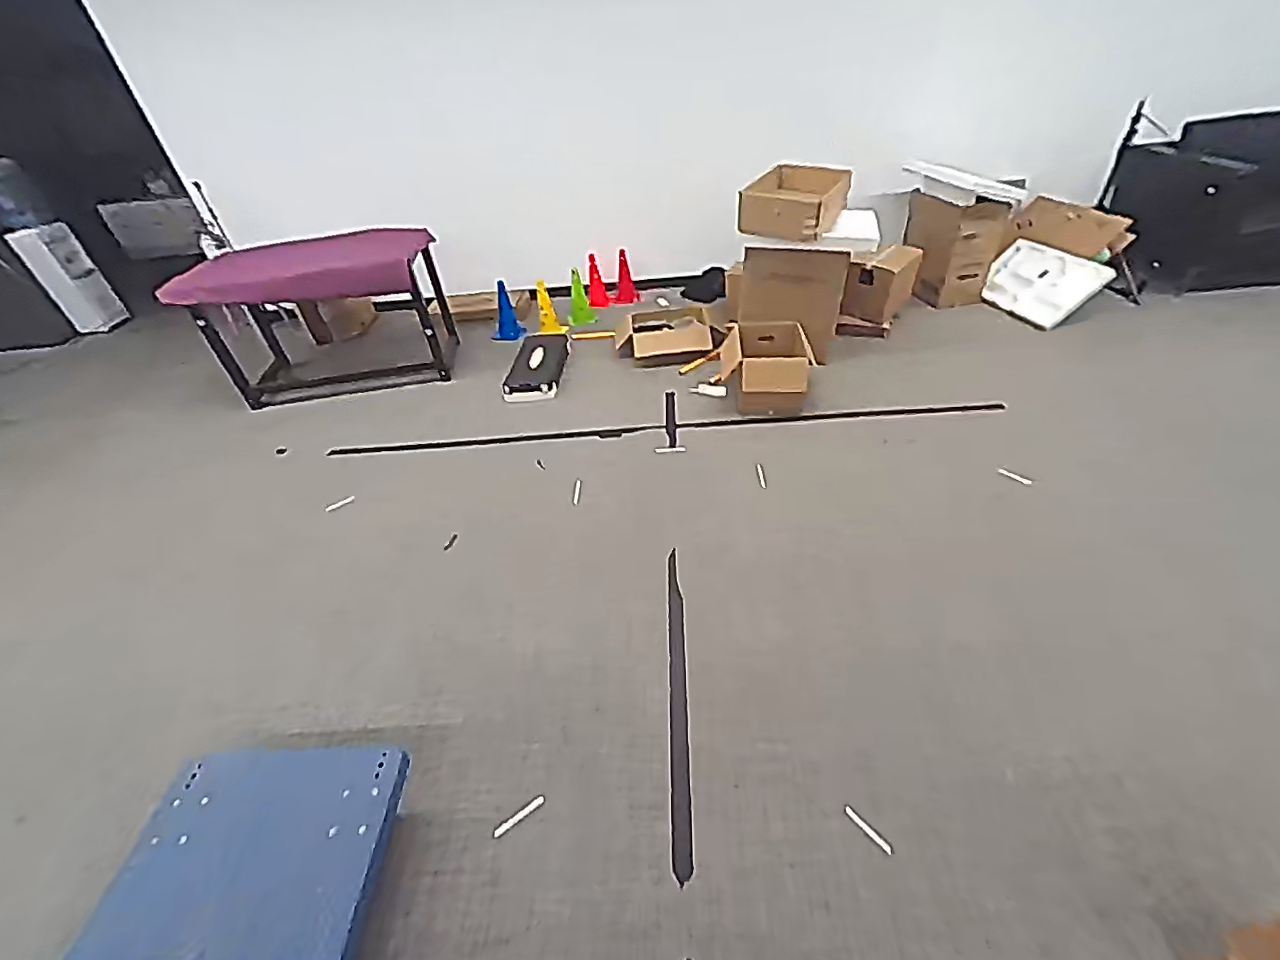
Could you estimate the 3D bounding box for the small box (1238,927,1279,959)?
[{"bbox_3d":[1.144,0.817,0.856,0.179,0.176,0.168,-3,39,4],"label":"small box"}]
